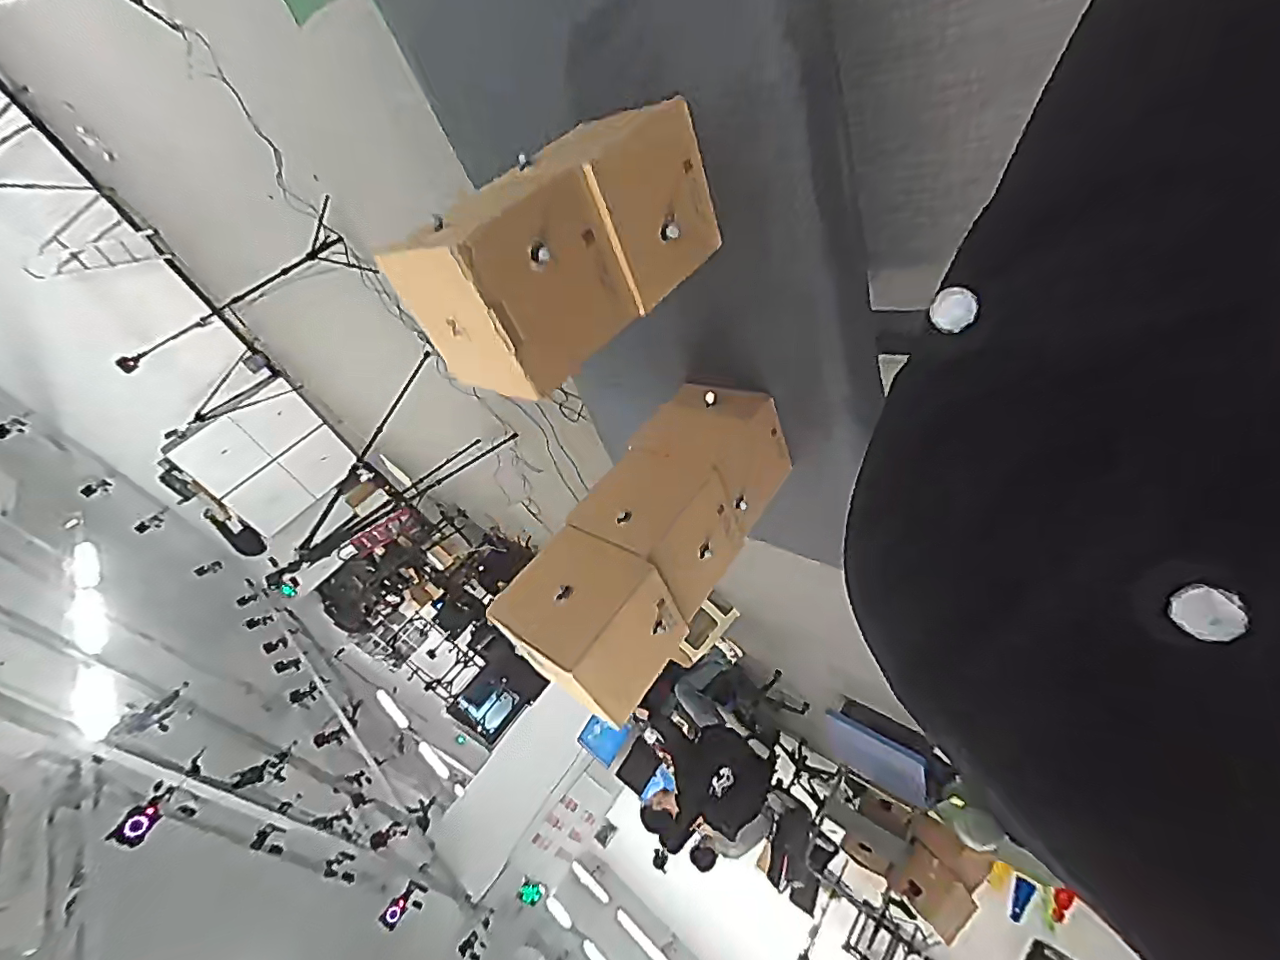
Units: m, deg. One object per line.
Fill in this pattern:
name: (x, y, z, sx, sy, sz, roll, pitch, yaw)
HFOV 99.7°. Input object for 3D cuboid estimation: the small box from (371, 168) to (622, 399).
small box: (-0.141, -0.212, 0.586, 0.179, 0.176, 0.168, 19, 146, 42)

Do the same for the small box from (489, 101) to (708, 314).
small box: (-0.037, -0.320, 0.648, 0.179, 0.176, 0.168, 19, 147, 40)

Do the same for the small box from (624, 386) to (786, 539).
small box: (0.111, -0.038, 0.887, 0.179, 0.176, 0.168, 17, 145, 43)

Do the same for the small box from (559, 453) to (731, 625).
small box: (0.019, 0.080, 0.816, 0.179, 0.176, 0.168, 17, 145, 42)
